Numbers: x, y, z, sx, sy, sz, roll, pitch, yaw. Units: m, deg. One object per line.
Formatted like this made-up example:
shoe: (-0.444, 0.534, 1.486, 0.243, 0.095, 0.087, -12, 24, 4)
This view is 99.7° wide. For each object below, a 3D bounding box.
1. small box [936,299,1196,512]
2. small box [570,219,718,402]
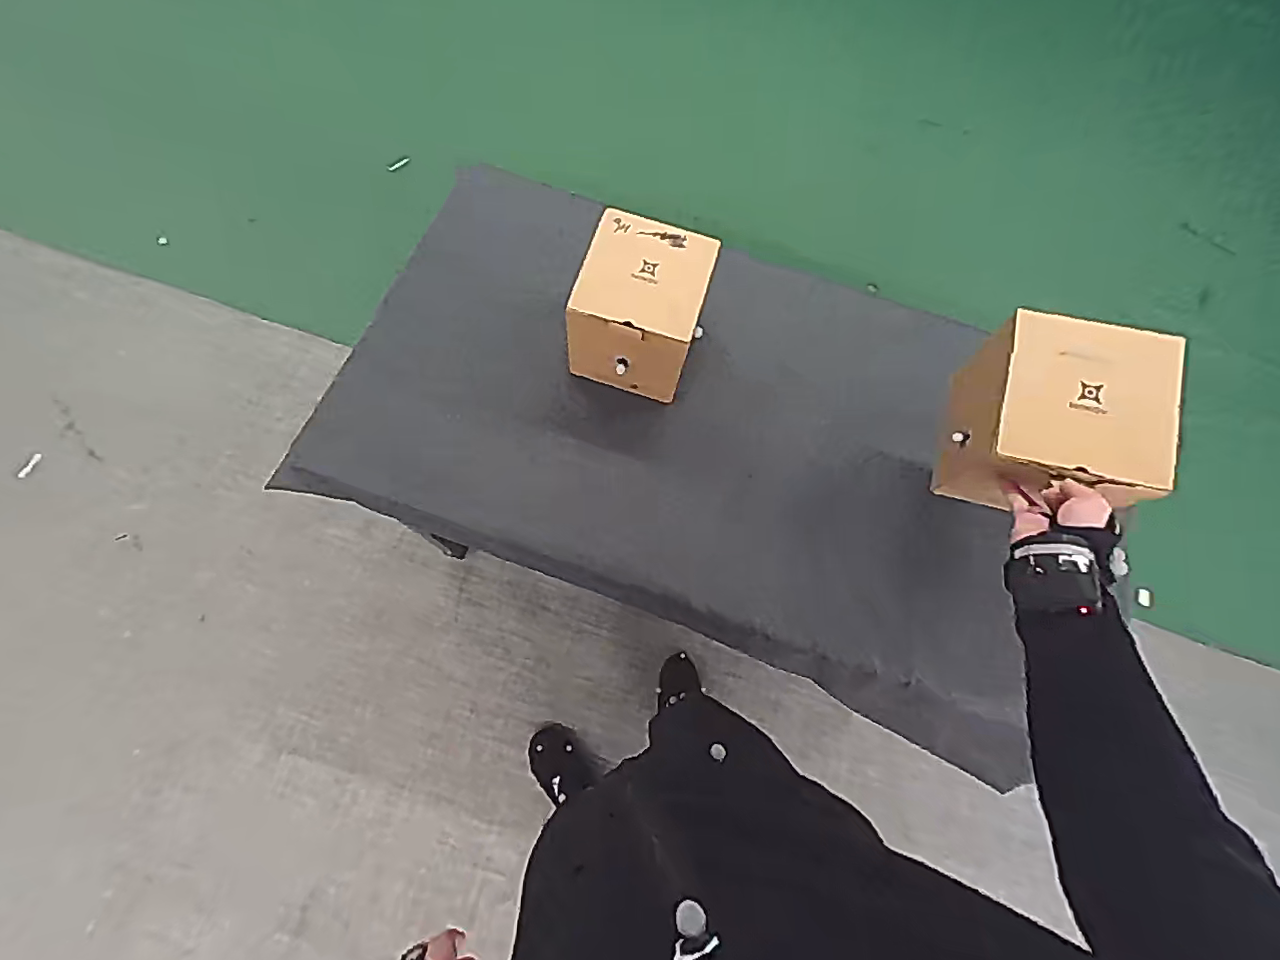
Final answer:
small box: (0.472, -0.073, 0.626, 0.168, 0.176, 0.179, 16, 78, 8)
small box: (0.005, -0.238, 0.794, 0.168, 0.176, 0.179, 14, 70, 2)
